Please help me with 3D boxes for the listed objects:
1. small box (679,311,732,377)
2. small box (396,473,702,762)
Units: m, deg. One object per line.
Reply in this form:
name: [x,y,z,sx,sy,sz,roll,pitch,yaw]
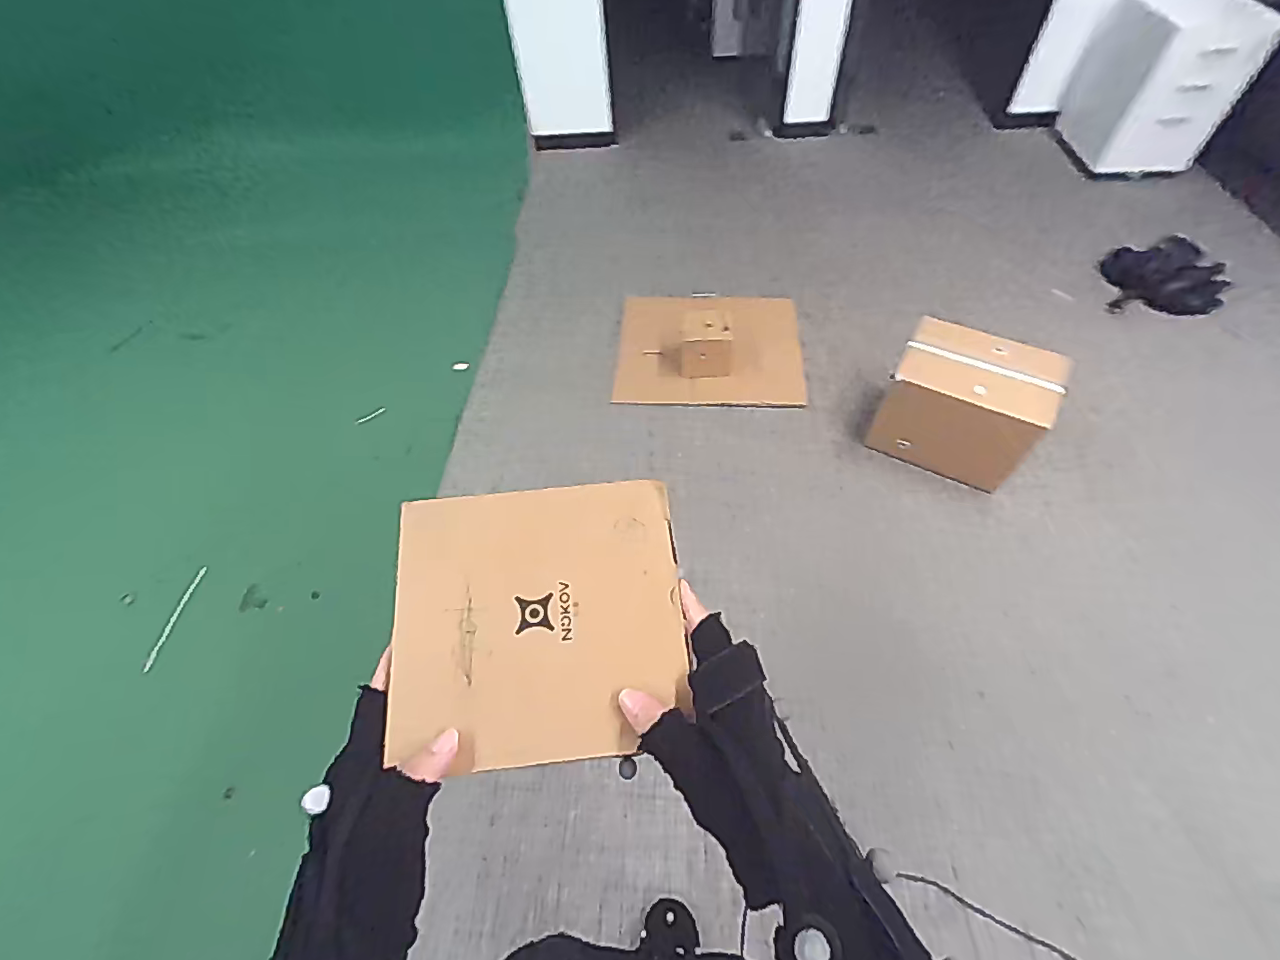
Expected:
small box: [0.237,-0.490,1.967,0.179,0.176,0.168,-3,52,3]
small box: [-0.059,0.110,0.410,0.179,0.176,0.168,-6,64,-3]
